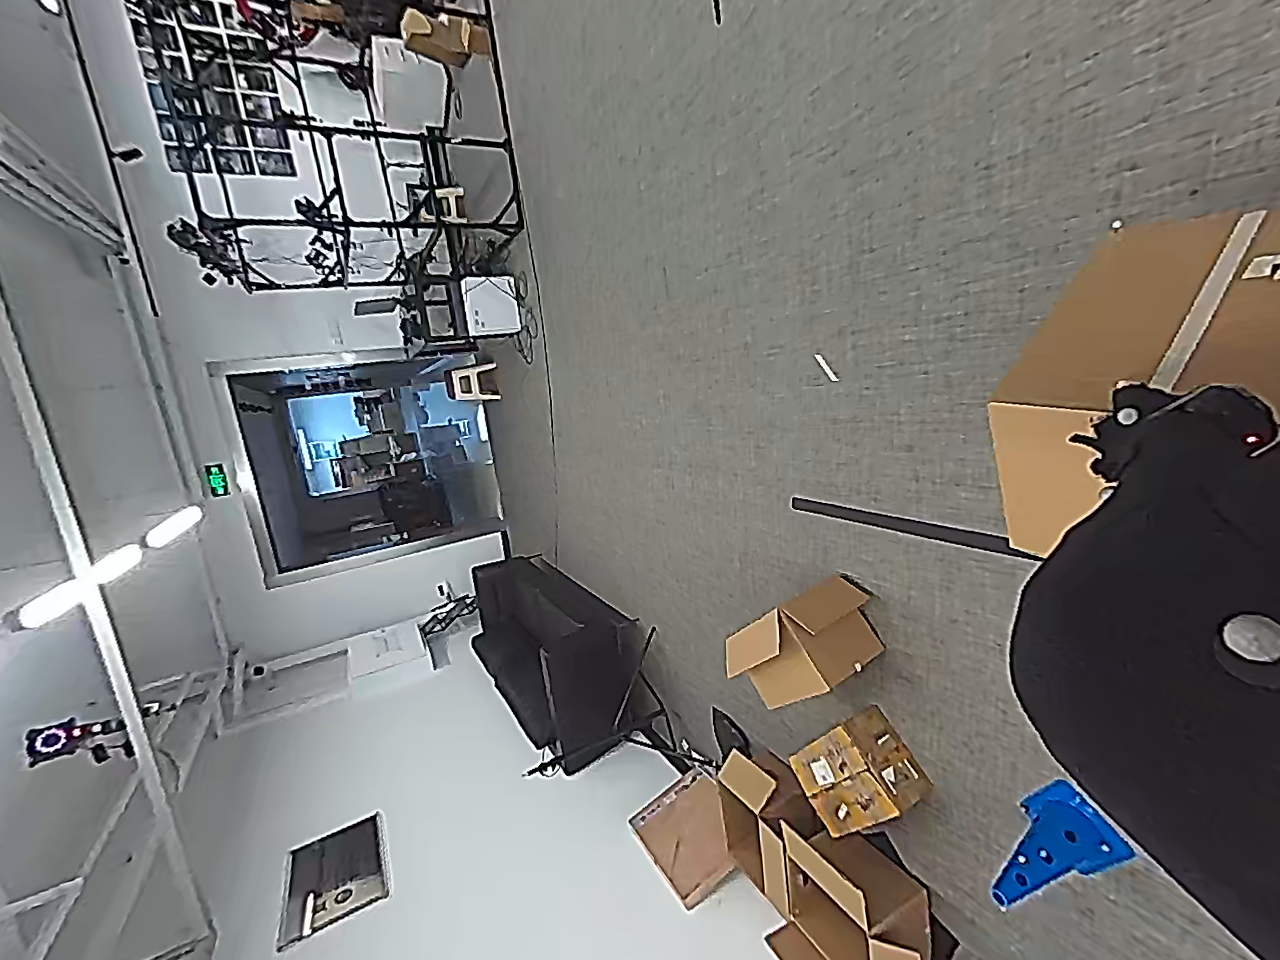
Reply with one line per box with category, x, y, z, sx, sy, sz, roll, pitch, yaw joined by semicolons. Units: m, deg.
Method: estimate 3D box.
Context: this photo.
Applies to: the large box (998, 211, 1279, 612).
large box;0.746;-0.101;0.723;0.320;0.408;0.320;20;150;50
